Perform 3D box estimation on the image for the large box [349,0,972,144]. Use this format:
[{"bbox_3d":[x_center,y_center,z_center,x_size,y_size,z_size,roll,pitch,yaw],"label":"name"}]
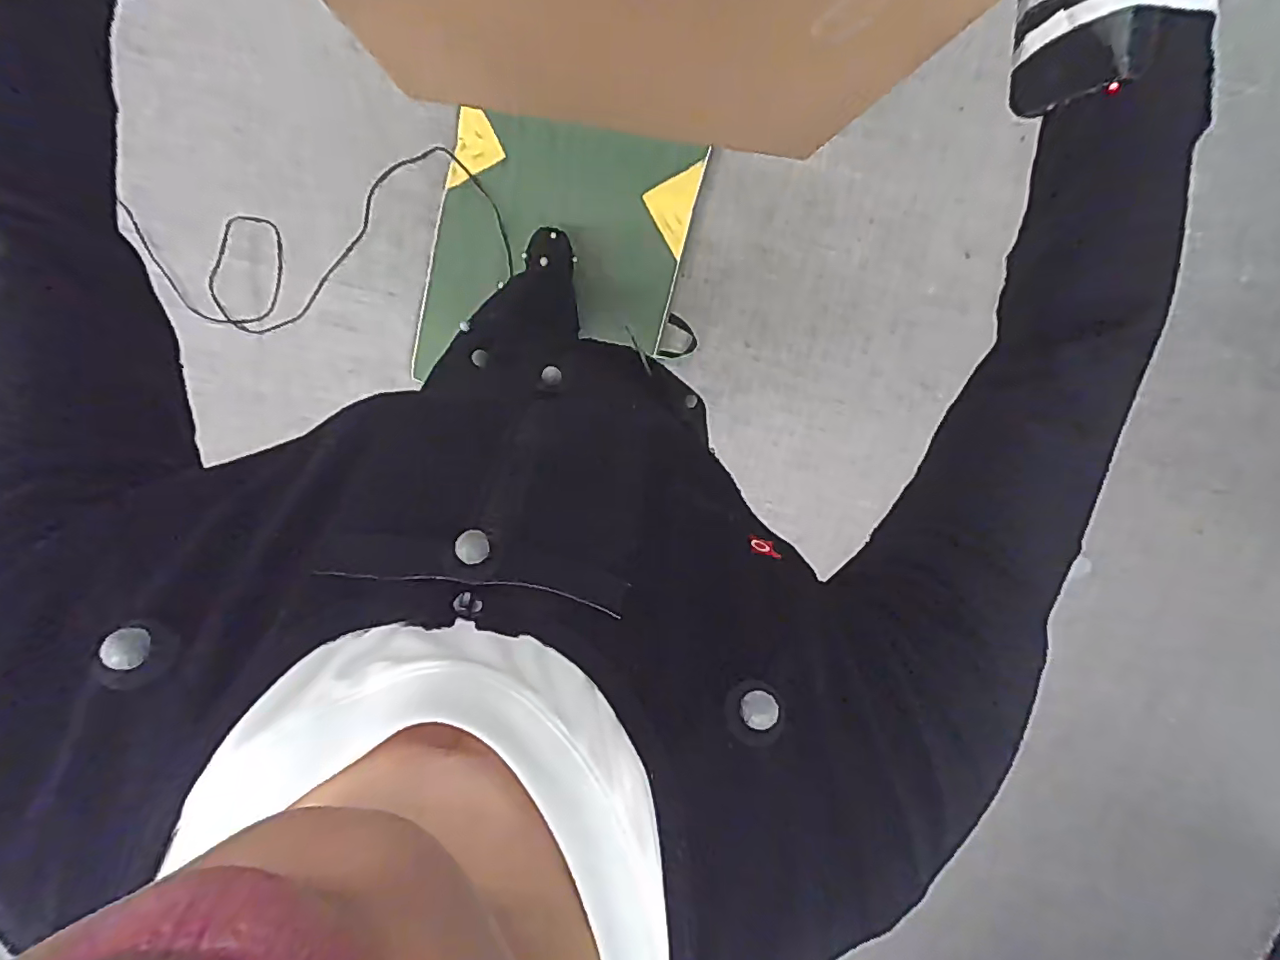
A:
[{"bbox_3d":[0.005,-0.461,0.355,0.408,0.320,0.320,5,106,-6],"label":"large box"}]
